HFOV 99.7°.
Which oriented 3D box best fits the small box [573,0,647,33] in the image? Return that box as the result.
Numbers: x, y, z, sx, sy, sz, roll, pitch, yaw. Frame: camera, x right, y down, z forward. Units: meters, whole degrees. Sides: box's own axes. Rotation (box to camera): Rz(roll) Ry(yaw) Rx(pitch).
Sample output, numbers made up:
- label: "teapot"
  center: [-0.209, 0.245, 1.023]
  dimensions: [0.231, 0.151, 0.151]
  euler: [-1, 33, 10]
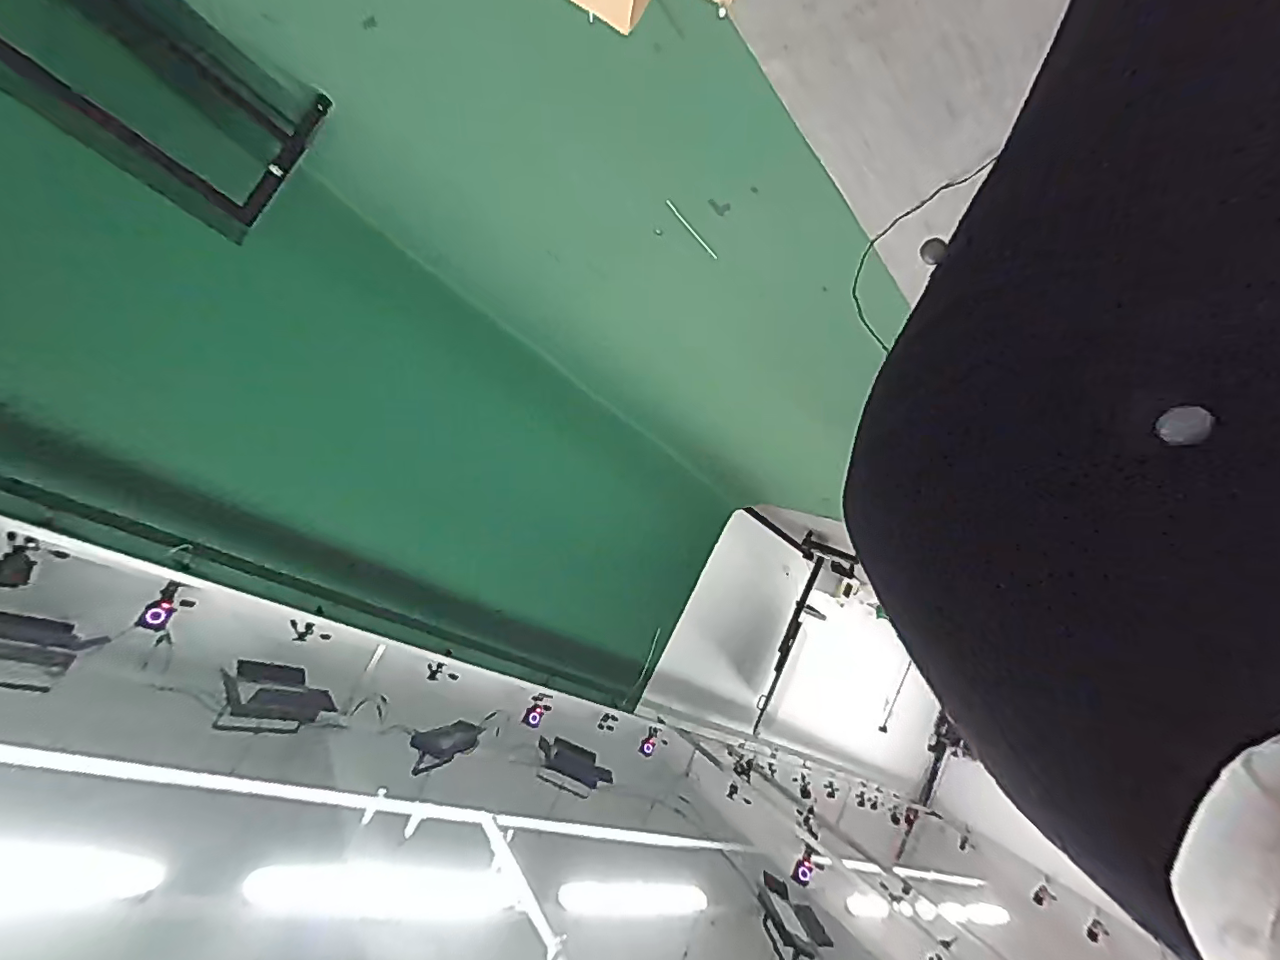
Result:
- label: "small box"
  center: [-0.038, -0.767, 0.707]
  dimensions: [0.168, 0.176, 0.179]
  euler: [28, 171, -6]
